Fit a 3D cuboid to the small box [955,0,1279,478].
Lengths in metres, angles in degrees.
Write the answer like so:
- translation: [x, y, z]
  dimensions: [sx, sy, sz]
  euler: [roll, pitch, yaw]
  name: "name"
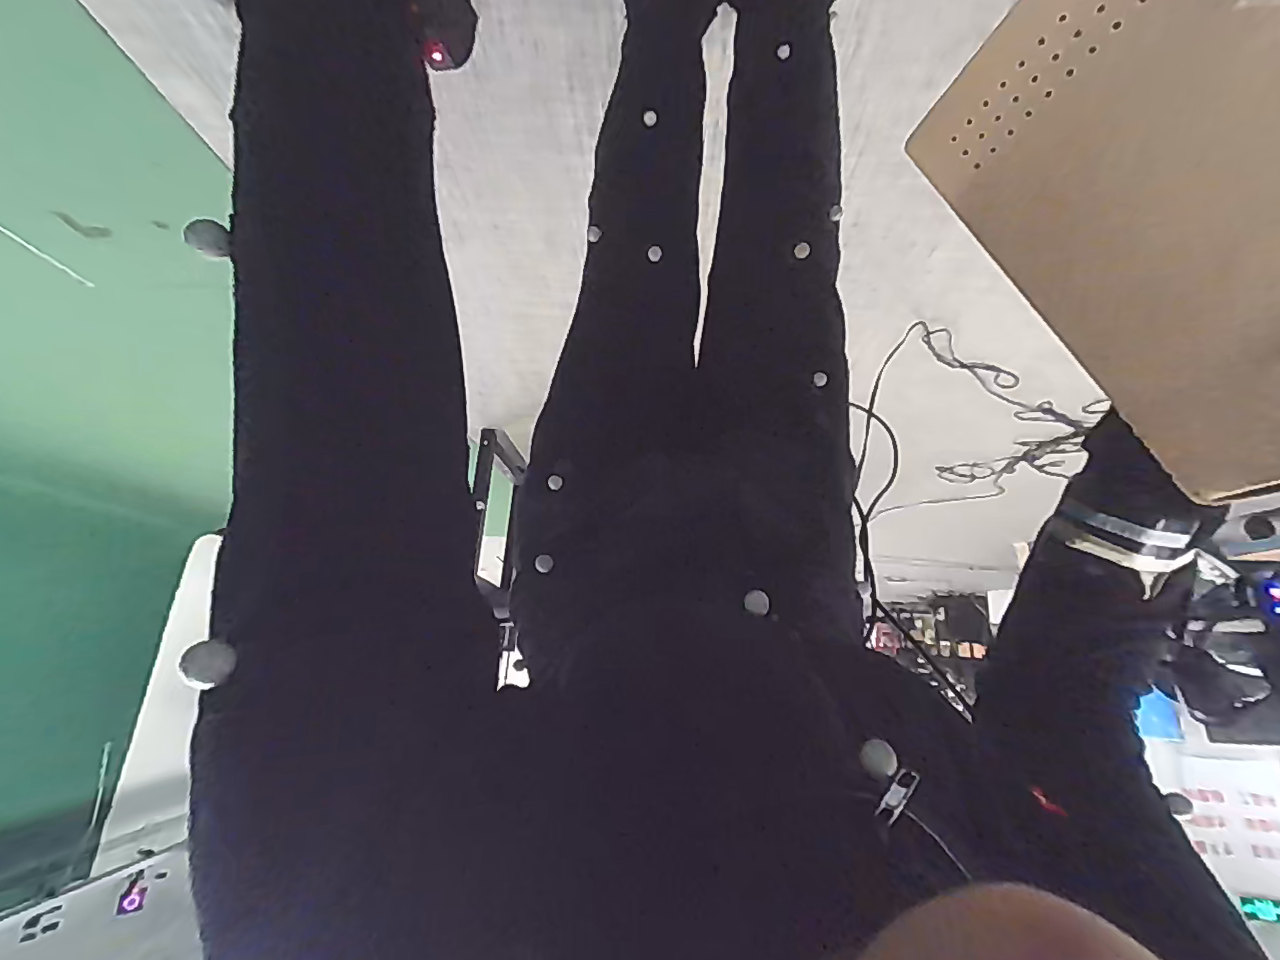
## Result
- translation: [0.229, -0.131, 0.150]
  dimensions: [0.168, 0.176, 0.179]
  euler: [-30, 172, -24]
  name: "small box"
